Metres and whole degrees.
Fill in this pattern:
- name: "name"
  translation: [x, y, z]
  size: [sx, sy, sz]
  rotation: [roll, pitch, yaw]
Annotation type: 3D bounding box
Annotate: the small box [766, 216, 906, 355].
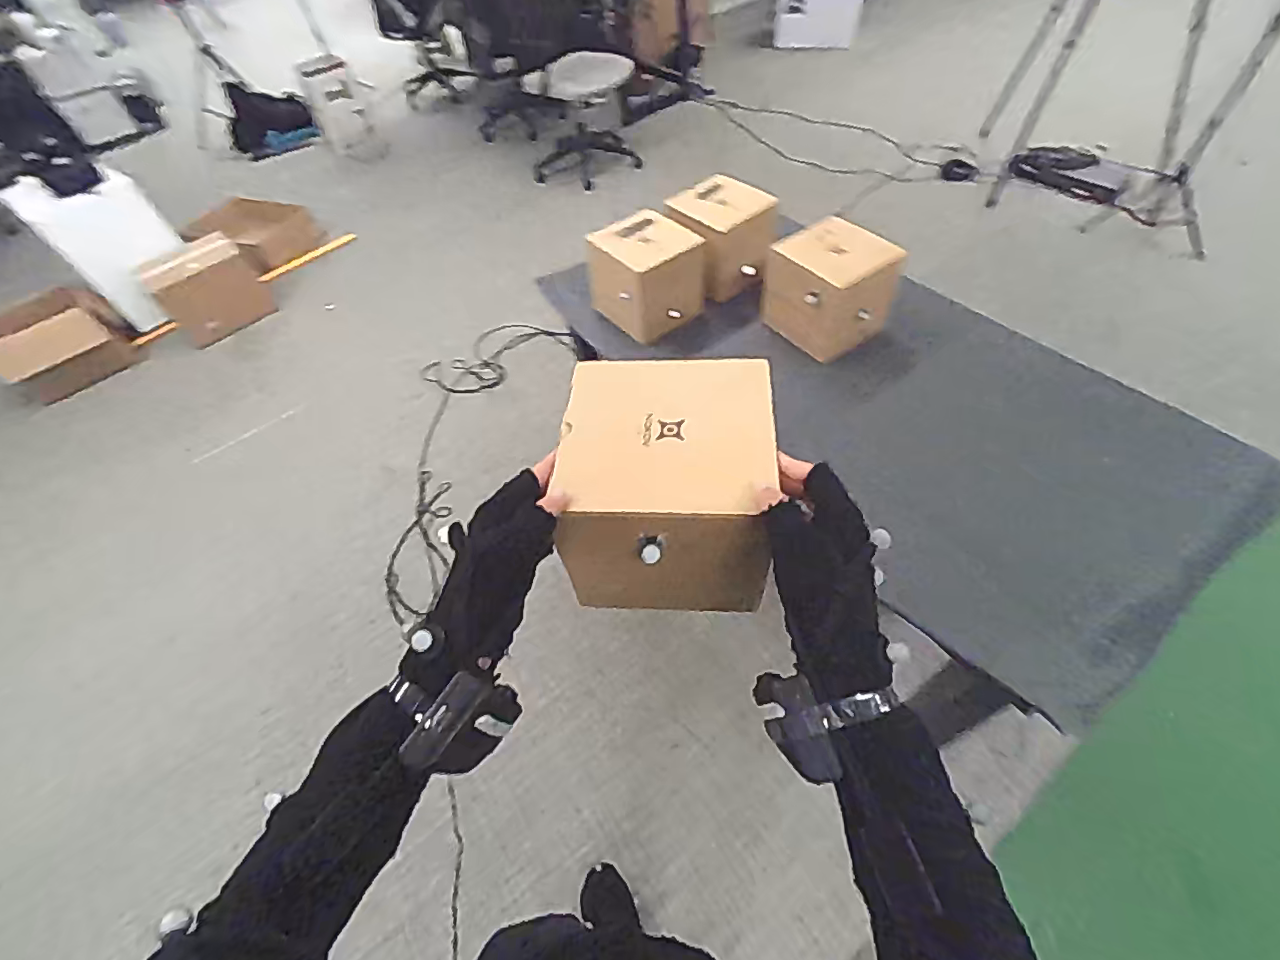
- name: "small box"
  translation: [0.363, -0.363, 1.033]
  size: [0.168, 0.176, 0.179]
  rotation: [-30, 56, -15]
